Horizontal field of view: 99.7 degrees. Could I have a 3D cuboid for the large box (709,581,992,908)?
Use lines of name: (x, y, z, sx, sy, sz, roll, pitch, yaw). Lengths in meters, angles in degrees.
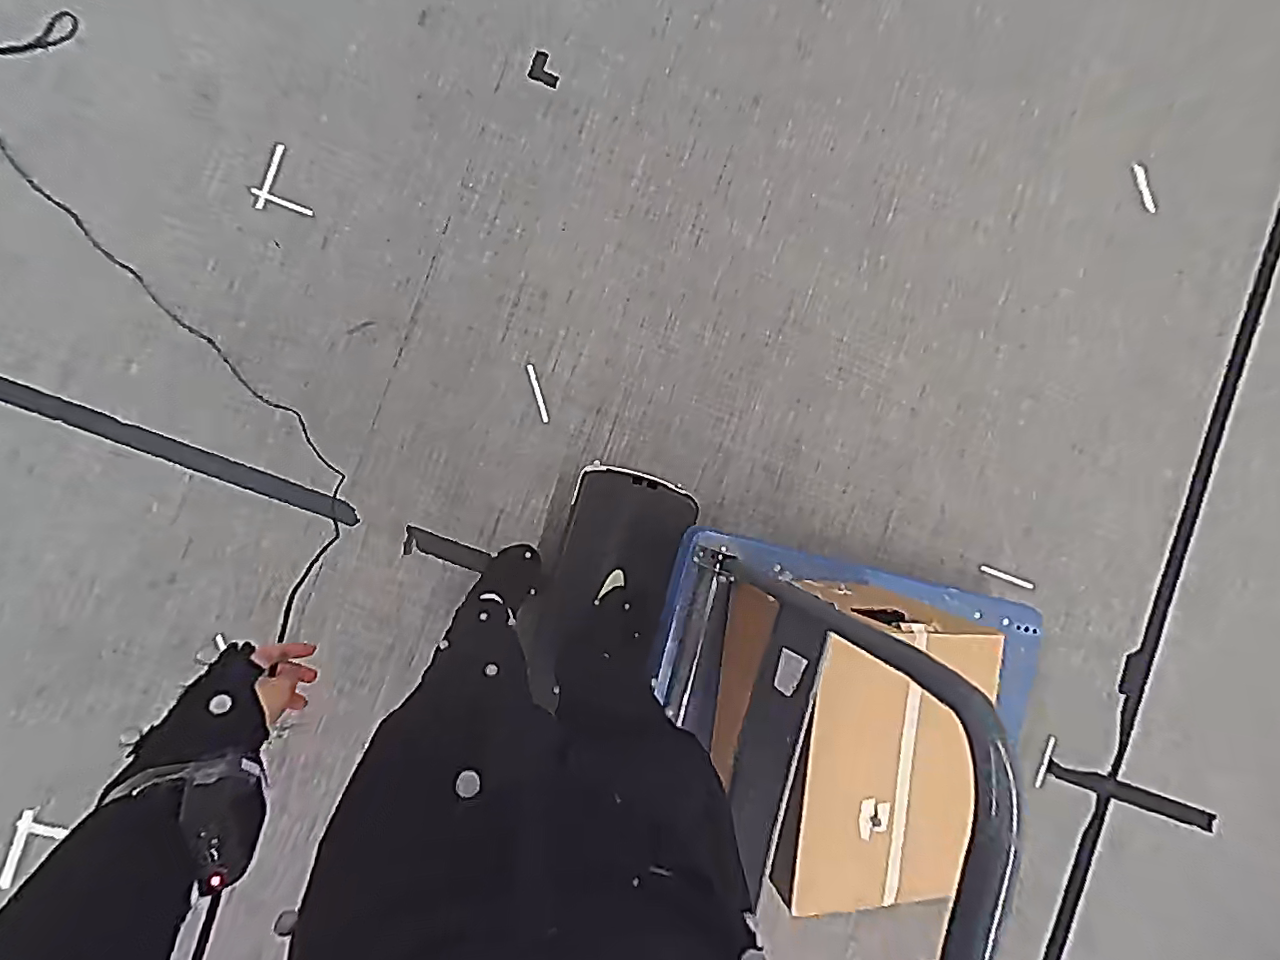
large box: (0.332, 0.405, 0.930, 0.320, 0.320, 0.408, 6, 92, -15)
